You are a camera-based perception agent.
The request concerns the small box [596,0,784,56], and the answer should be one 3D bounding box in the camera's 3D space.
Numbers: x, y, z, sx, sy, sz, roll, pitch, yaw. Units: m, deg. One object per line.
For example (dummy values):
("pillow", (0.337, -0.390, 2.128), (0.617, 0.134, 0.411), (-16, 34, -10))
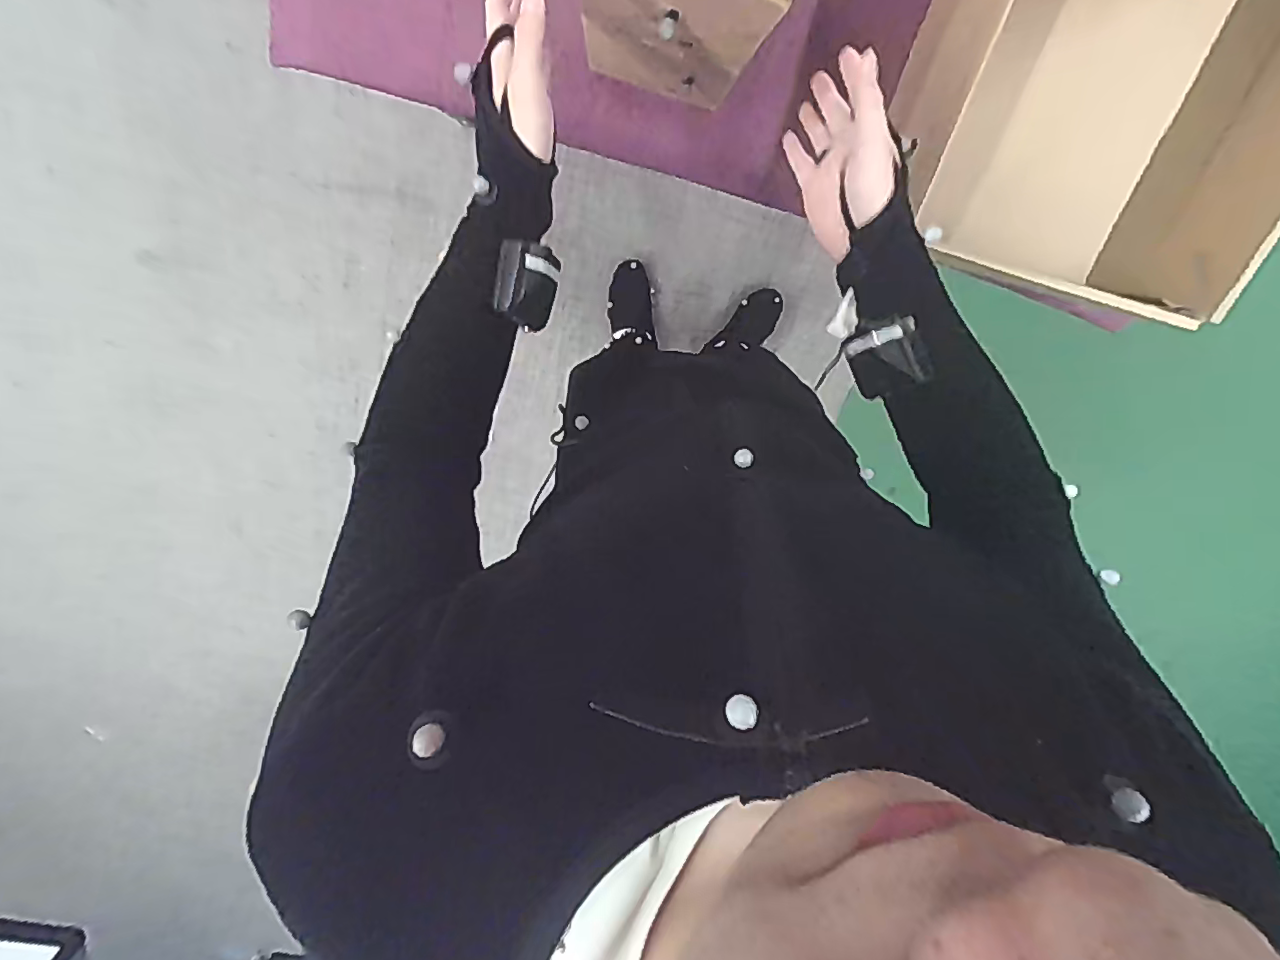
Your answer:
("small box", (0.048, -0.471, 0.419), (0.168, 0.176, 0.179), (12, 114, -8))
